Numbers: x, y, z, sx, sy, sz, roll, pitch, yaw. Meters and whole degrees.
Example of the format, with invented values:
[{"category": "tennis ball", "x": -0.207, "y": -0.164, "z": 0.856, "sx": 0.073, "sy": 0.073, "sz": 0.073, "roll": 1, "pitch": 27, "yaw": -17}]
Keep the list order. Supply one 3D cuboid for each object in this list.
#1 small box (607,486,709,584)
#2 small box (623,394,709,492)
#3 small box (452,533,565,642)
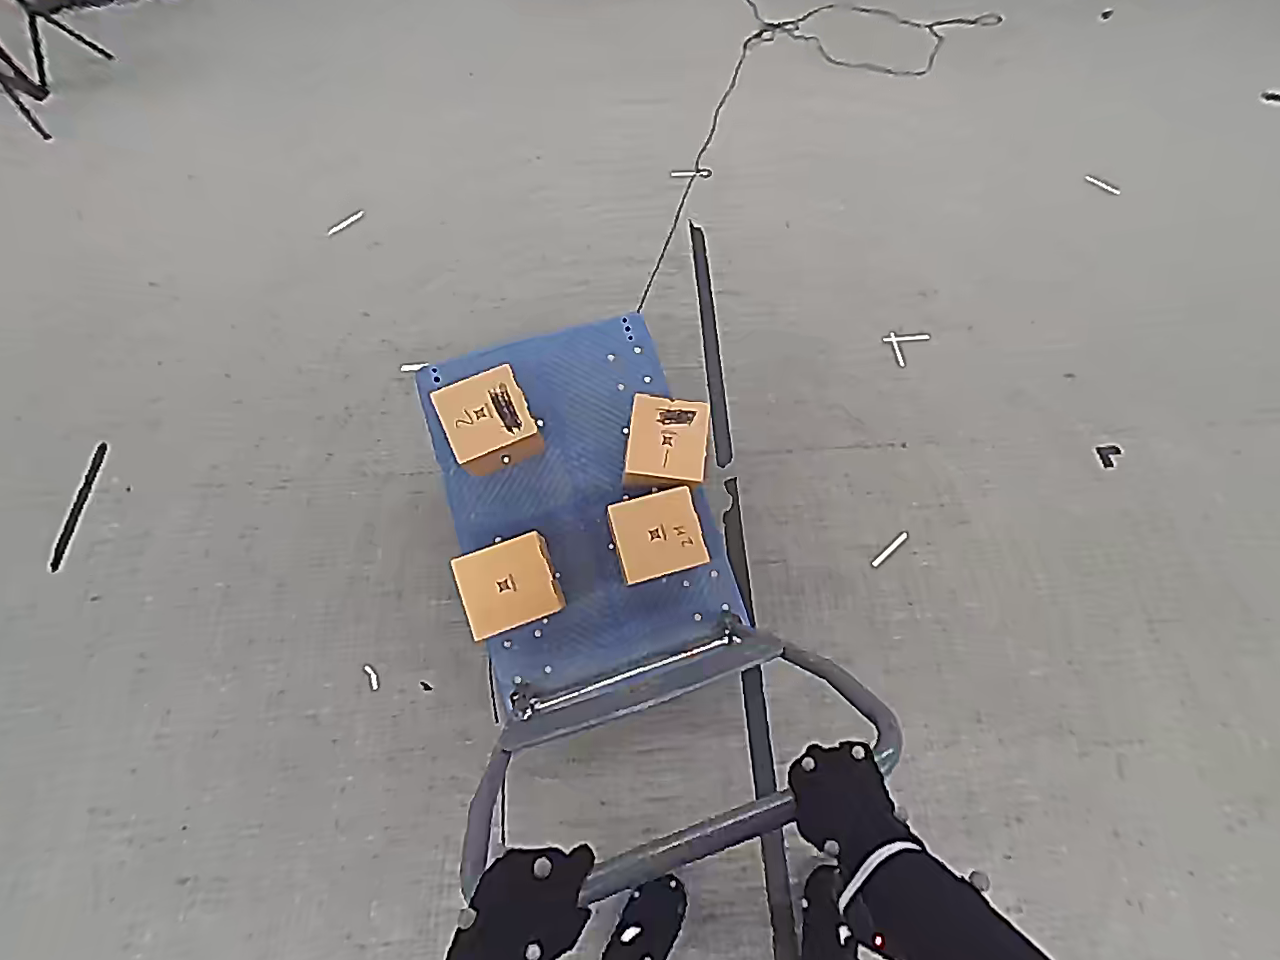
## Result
[{"category": "small box", "x": 0.032, "y": 0.125, "z": 1.172, "sx": 0.179, "sy": 0.176, "sz": 0.168, "roll": -15, "pitch": 81, "yaw": -7}, {"category": "small box", "x": 0.052, "y": -0.074, "z": 1.212, "sx": 0.168, "sy": 0.176, "sz": 0.179, "roll": 7, "pitch": 80, "yaw": -3}, {"category": "small box", "x": -0.266, "y": 0.224, "z": 1.132, "sx": 0.179, "sy": 0.176, "sz": 0.168, "roll": -20, "pitch": 81, "yaw": -9}]
